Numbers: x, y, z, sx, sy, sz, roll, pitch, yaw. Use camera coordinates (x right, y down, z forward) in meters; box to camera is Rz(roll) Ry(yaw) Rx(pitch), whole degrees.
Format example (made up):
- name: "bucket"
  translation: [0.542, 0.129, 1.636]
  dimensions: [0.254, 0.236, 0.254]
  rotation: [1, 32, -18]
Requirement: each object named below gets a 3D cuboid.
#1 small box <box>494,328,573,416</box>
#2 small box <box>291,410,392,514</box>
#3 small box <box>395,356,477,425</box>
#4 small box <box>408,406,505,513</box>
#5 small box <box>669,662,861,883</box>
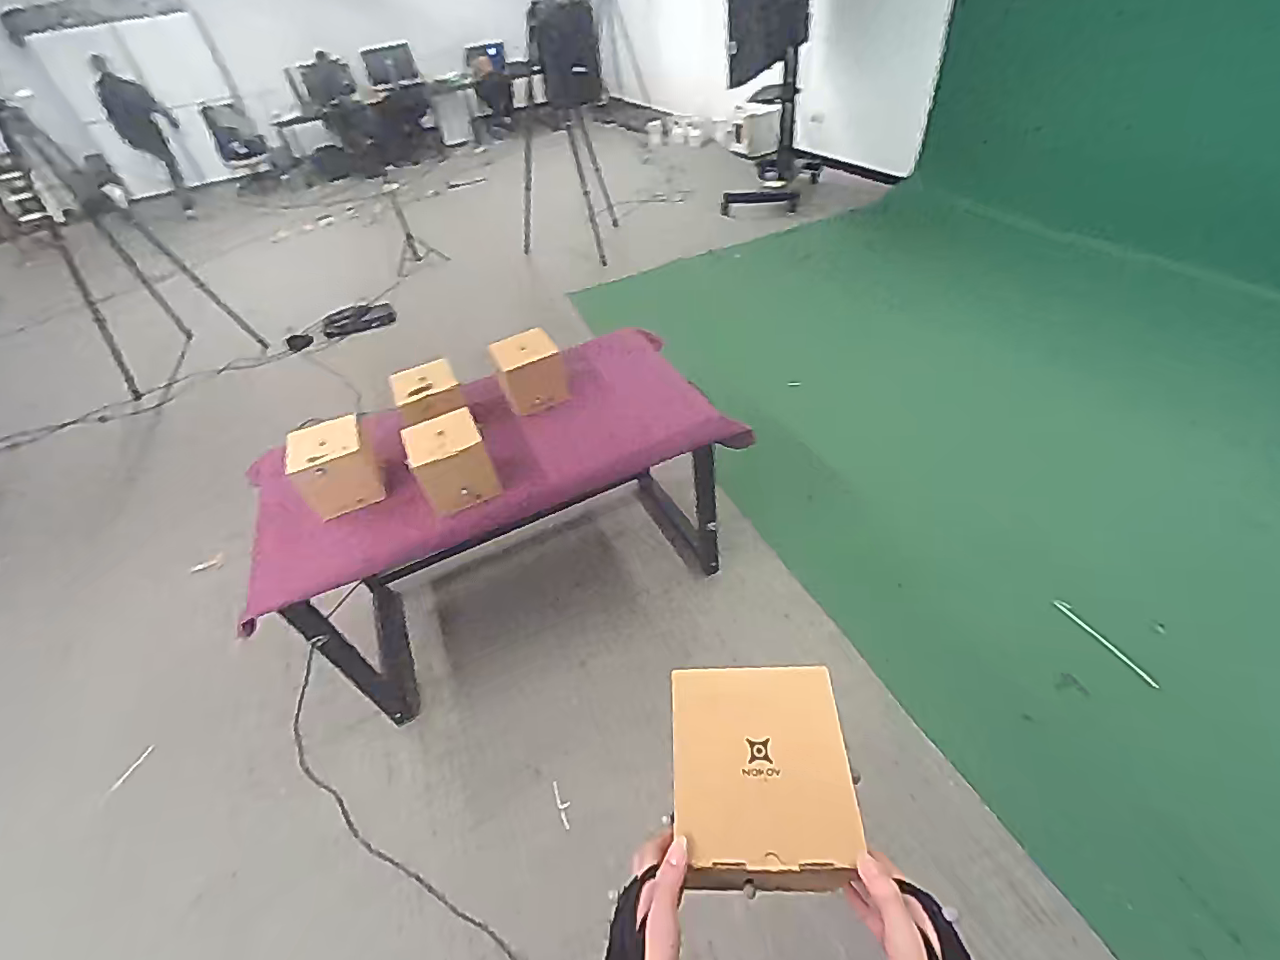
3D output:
- name: "small box"
  translation: [-0.313, -0.319, 1.599]
  dimensions: [0.168, 0.176, 0.179]
  rotation: [-24, 46, -14]
- name: "small box"
  translation: [-0.755, -0.044, 1.380]
  dimensions: [0.168, 0.176, 0.179]
  rotation: [-22, 45, -12]
- name: "small box"
  translation: [-0.571, -0.218, 1.534]
  dimensions: [0.168, 0.176, 0.179]
  rotation: [-22, 45, -14]
- name: "small box"
  translation: [-0.452, -0.050, 1.337]
  dimensions: [0.168, 0.176, 0.179]
  rotation: [-23, 44, -14]
- name: "small box"
  translation: [0.114, 0.313, 0.579]
  dimensions: [0.168, 0.176, 0.179]
  rotation: [-2, 49, 4]
